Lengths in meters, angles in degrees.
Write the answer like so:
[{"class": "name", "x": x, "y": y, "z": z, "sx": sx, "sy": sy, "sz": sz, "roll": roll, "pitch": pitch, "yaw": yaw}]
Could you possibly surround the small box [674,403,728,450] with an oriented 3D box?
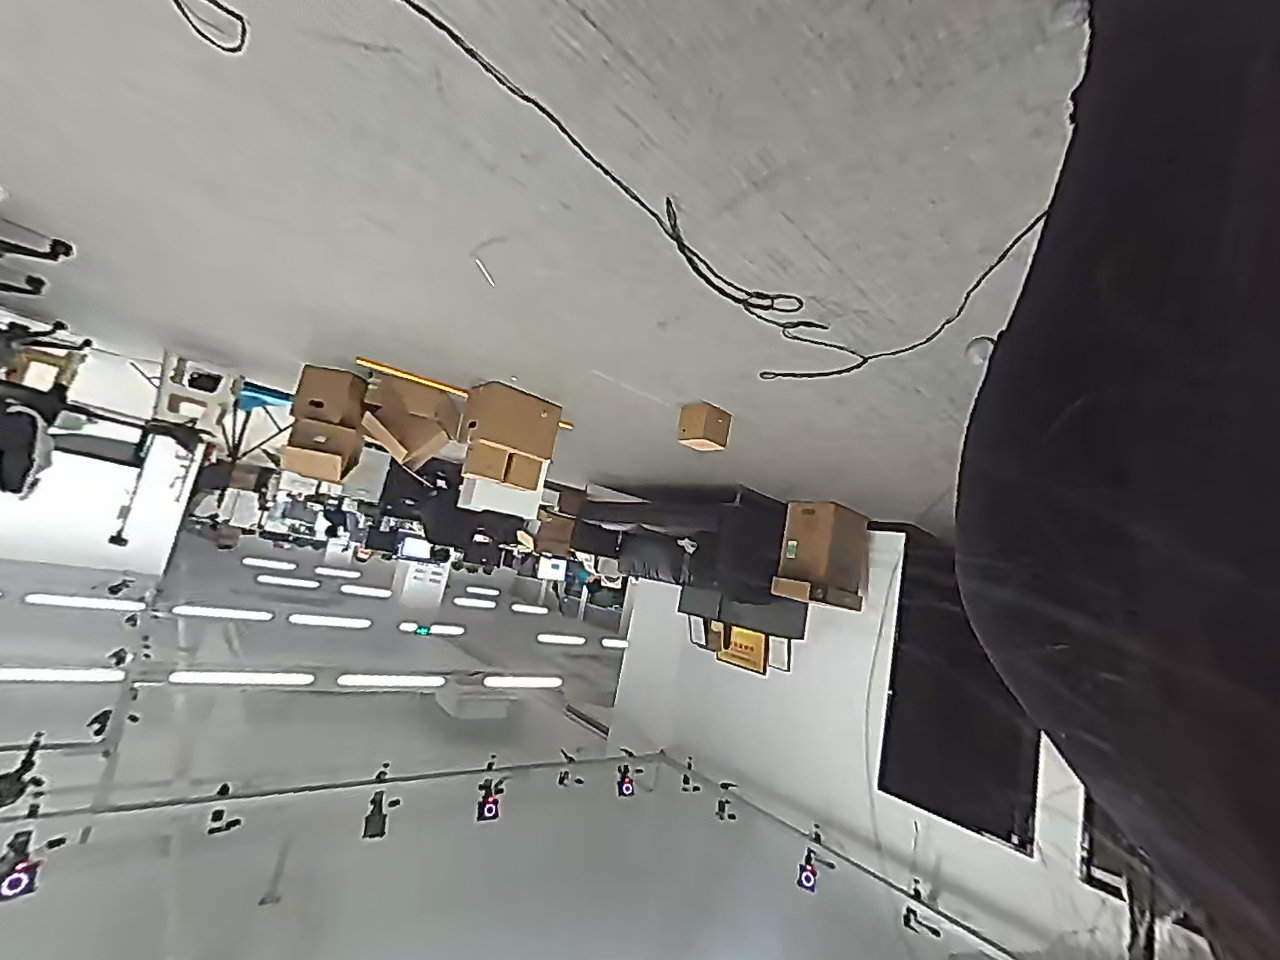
[{"class": "small box", "x": 0.287, "y": -0.246, "z": 2.504, "sx": 0.168, "sy": 0.176, "sz": 0.179, "roll": 18, "pitch": 169, "yaw": -38}]
